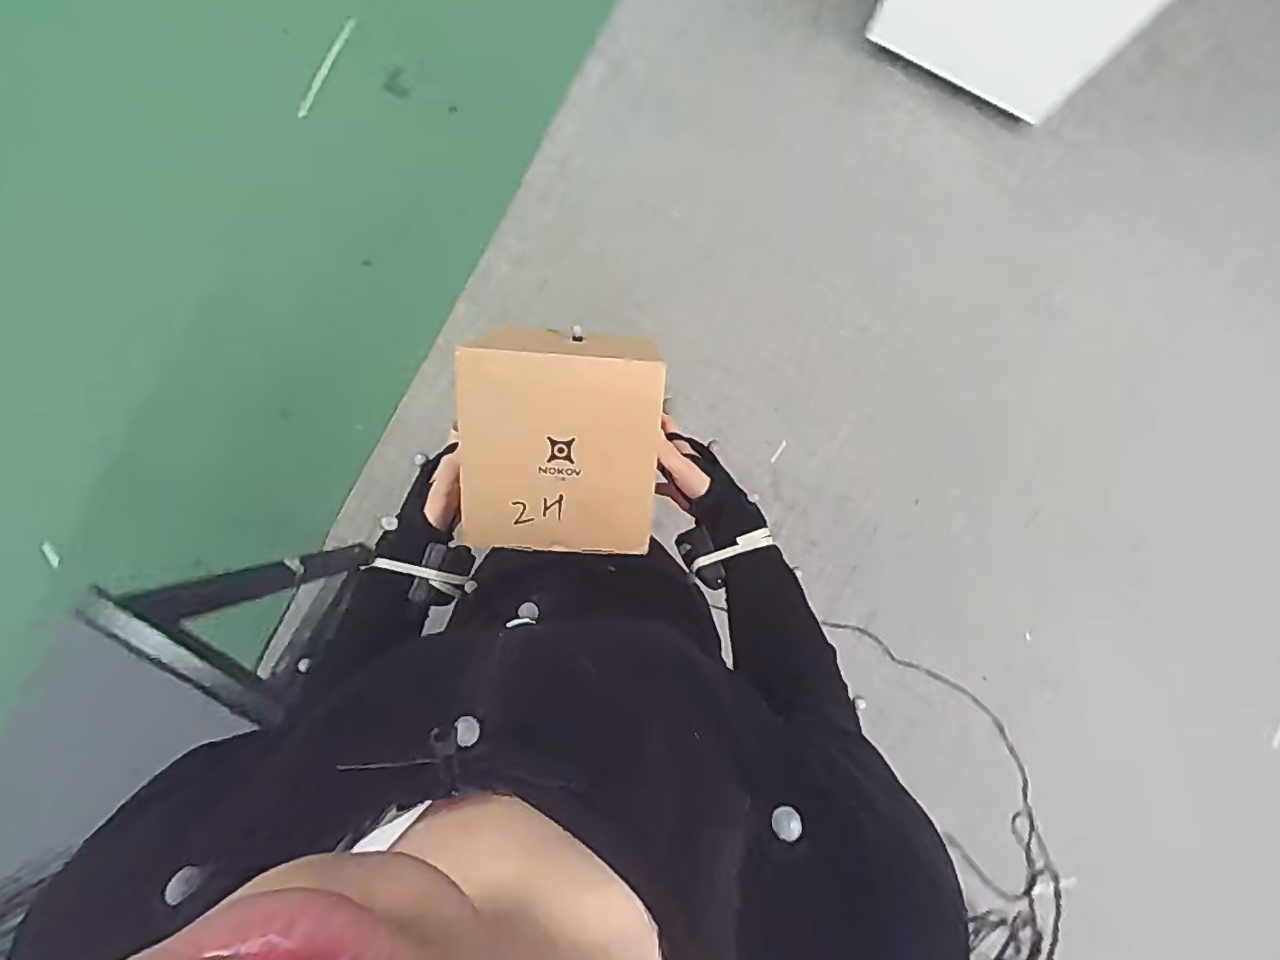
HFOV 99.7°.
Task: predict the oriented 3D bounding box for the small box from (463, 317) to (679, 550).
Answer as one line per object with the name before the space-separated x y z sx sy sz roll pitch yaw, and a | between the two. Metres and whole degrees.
small box | -0.063 -0.054 0.509 0.168 0.176 0.179 4 111 -4
